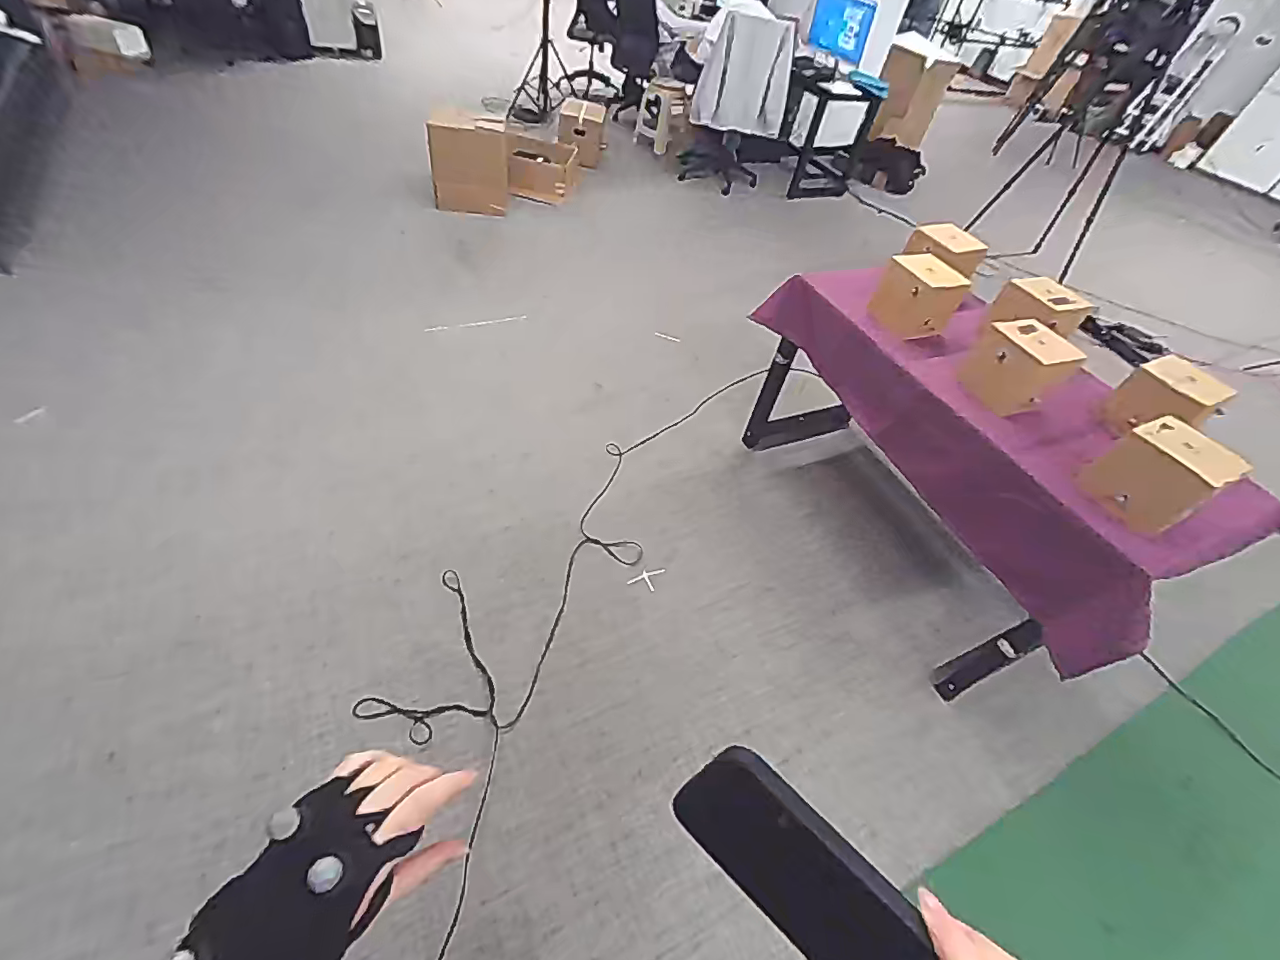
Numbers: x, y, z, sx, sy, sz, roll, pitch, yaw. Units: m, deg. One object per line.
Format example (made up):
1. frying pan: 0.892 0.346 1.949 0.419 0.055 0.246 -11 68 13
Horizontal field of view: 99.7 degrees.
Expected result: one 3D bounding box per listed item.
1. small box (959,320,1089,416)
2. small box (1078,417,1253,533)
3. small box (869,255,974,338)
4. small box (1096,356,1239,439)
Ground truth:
1. small box: 0.973 -0.288 1.390 0.168 0.176 0.179 -11 53 -21
2. small box: 1.116 -0.005 1.163 0.168 0.176 0.179 -14 53 -24
3. small box: 0.813 -0.537 1.582 0.168 0.176 0.179 -12 53 -22
4. small box: 1.324 -0.187 1.370 0.179 0.176 0.168 -16 53 -24
